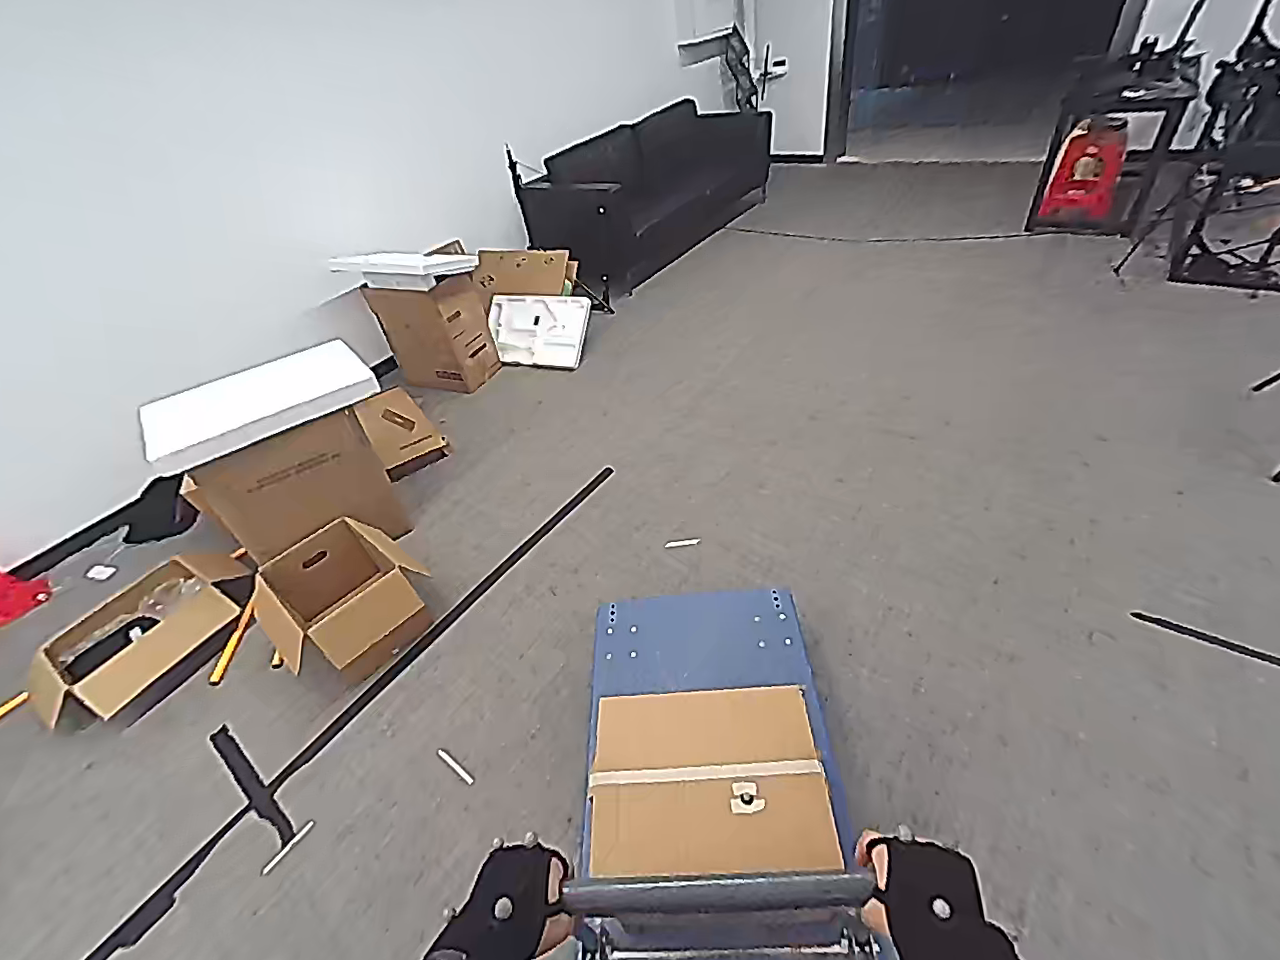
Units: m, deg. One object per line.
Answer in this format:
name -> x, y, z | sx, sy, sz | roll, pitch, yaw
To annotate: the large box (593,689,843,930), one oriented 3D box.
large box -> 0.133, 0.642, 1.054 | 0.408, 0.320, 0.320 | -5, 41, 4
